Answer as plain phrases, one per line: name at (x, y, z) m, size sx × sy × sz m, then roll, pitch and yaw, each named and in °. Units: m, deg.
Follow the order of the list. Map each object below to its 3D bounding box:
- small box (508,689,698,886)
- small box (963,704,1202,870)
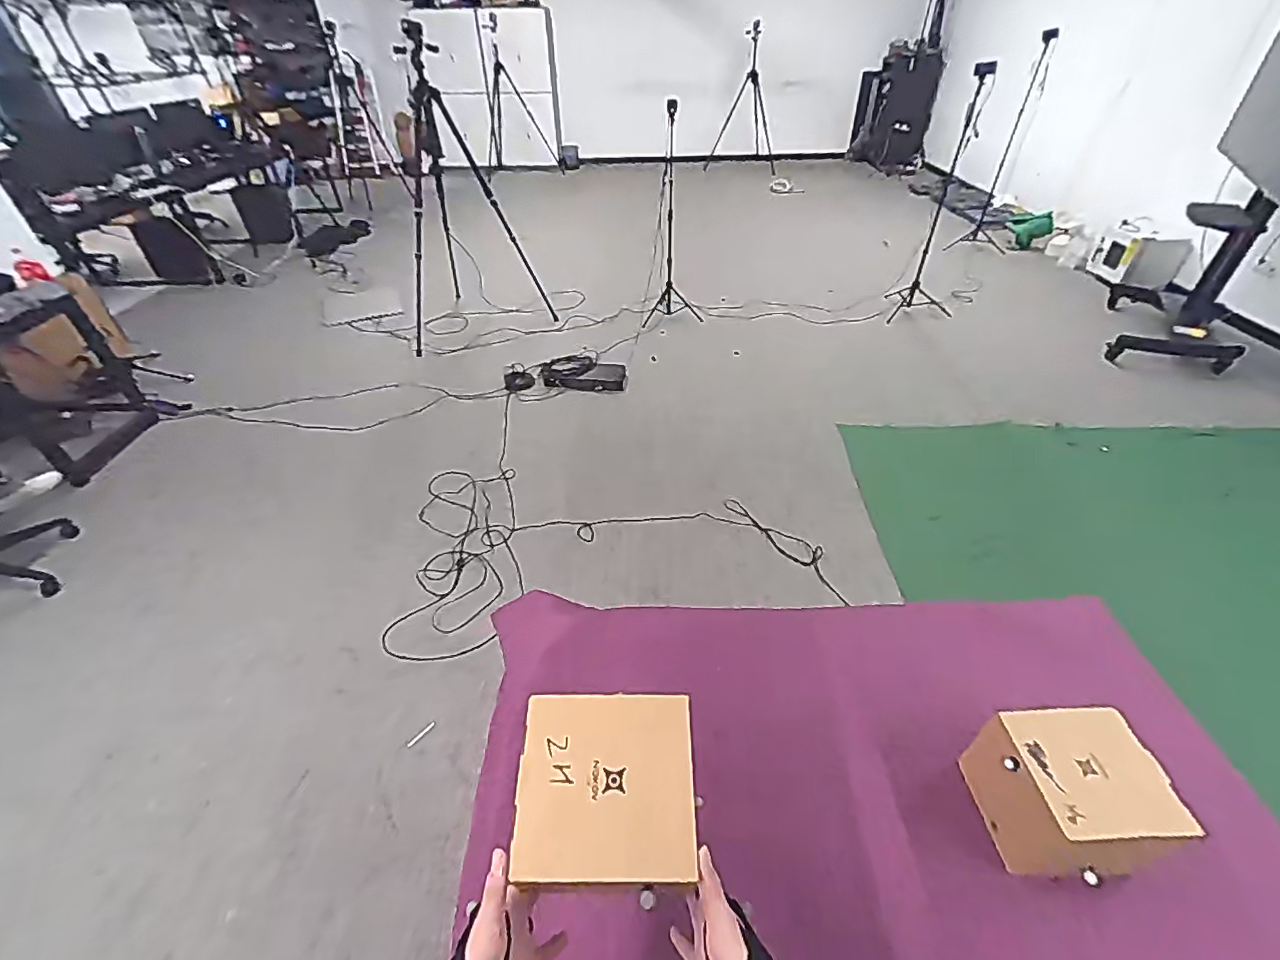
small box at (-0.033, 0.344, 0.603) m, size 0.179 × 0.176 × 0.168 m, roll 0°, pitch 50°, yaw 1°
small box at (0.612, 0.442, 0.779) m, size 0.179 × 0.176 × 0.168 m, roll -2°, pitch 40°, yaw 0°
